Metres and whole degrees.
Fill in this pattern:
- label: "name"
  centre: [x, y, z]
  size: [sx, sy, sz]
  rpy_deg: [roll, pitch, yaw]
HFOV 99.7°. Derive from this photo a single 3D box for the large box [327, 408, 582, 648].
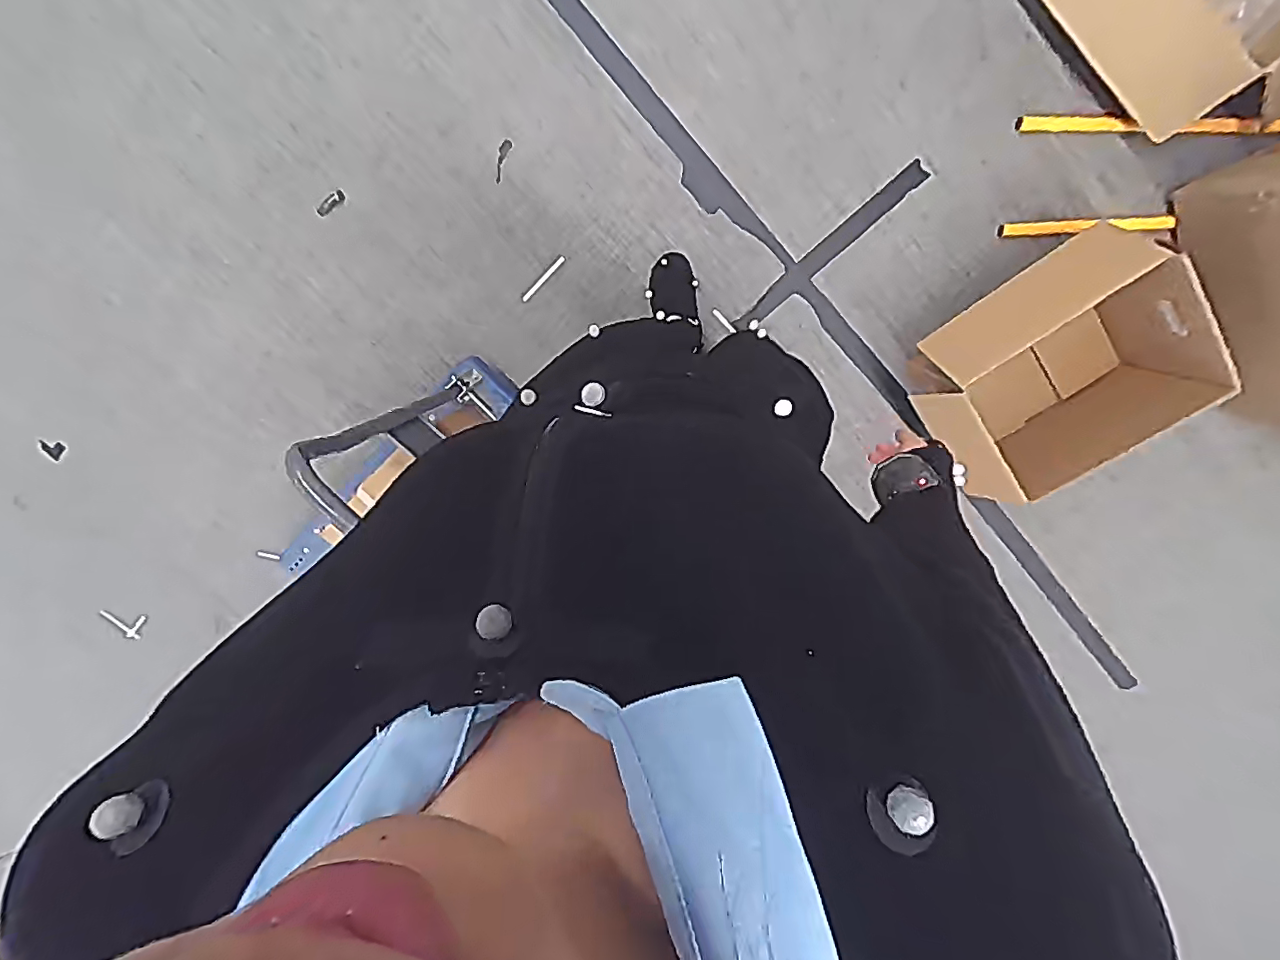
- label: "large box"
  centre: [-0.403, 0.101, 1.271]
  size: [0.320, 0.320, 0.408]
  rpy_deg: [-40, 101, 18]
